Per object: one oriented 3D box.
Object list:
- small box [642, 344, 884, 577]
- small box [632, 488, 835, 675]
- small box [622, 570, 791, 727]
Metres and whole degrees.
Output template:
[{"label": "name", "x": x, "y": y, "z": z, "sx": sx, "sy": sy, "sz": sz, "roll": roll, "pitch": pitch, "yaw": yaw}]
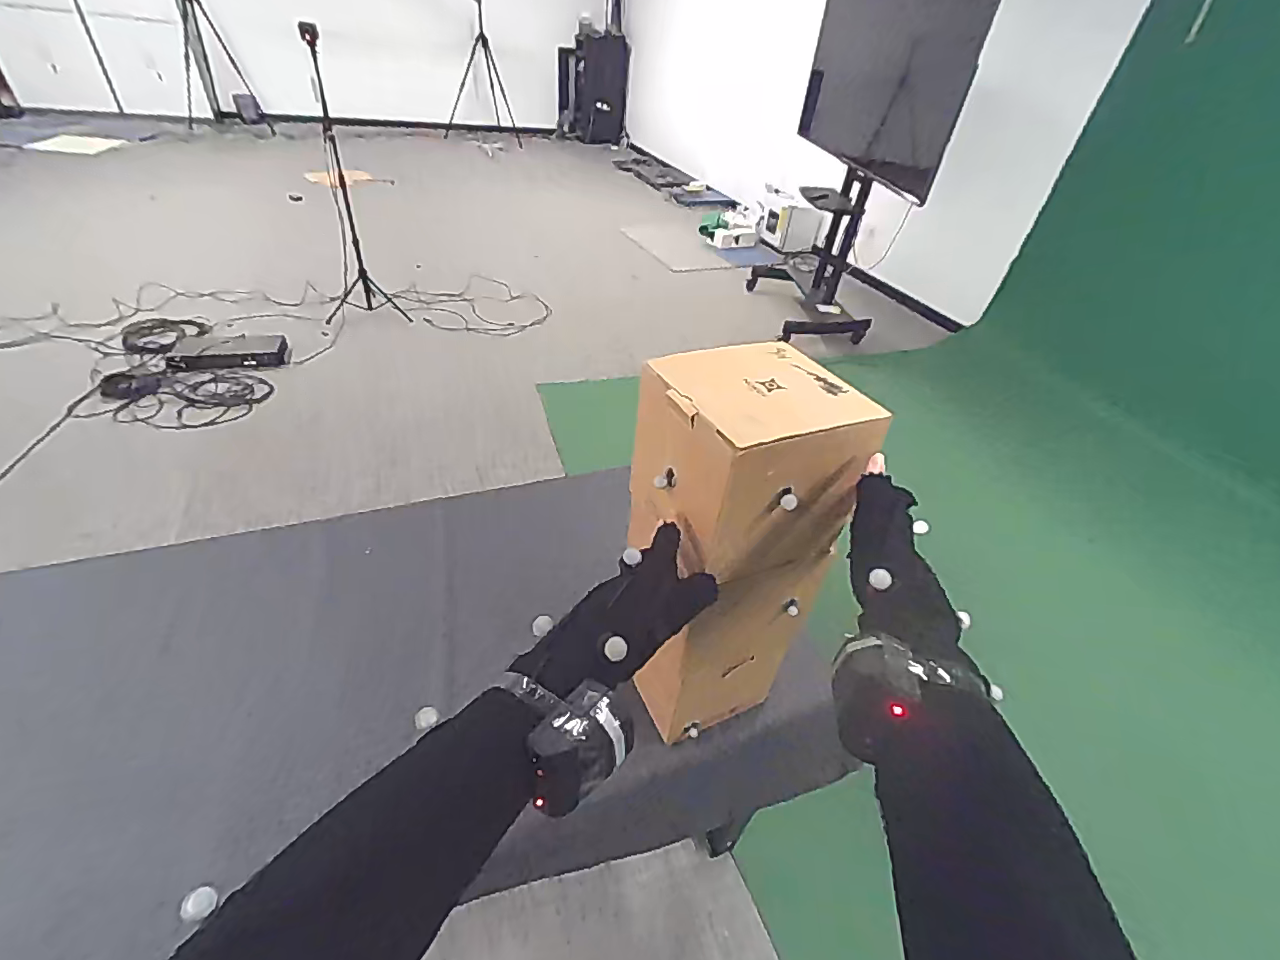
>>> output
[{"label": "small box", "x": 0.110, "y": -0.023, "z": 0.567, "sx": 0.179, "sy": 0.176, "sz": 0.168, "roll": -13, "pitch": 42, "yaw": -22}, {"label": "small box", "x": 0.100, "y": 0.107, "z": 0.667, "sx": 0.179, "sy": 0.176, "sz": 0.168, "roll": -13, "pitch": 42, "yaw": -20}, {"label": "small box", "x": 0.083, "y": 0.225, "z": 0.776, "sx": 0.168, "sy": 0.176, "sz": 0.179, "roll": -13, "pitch": 42, "yaw": -23}]
